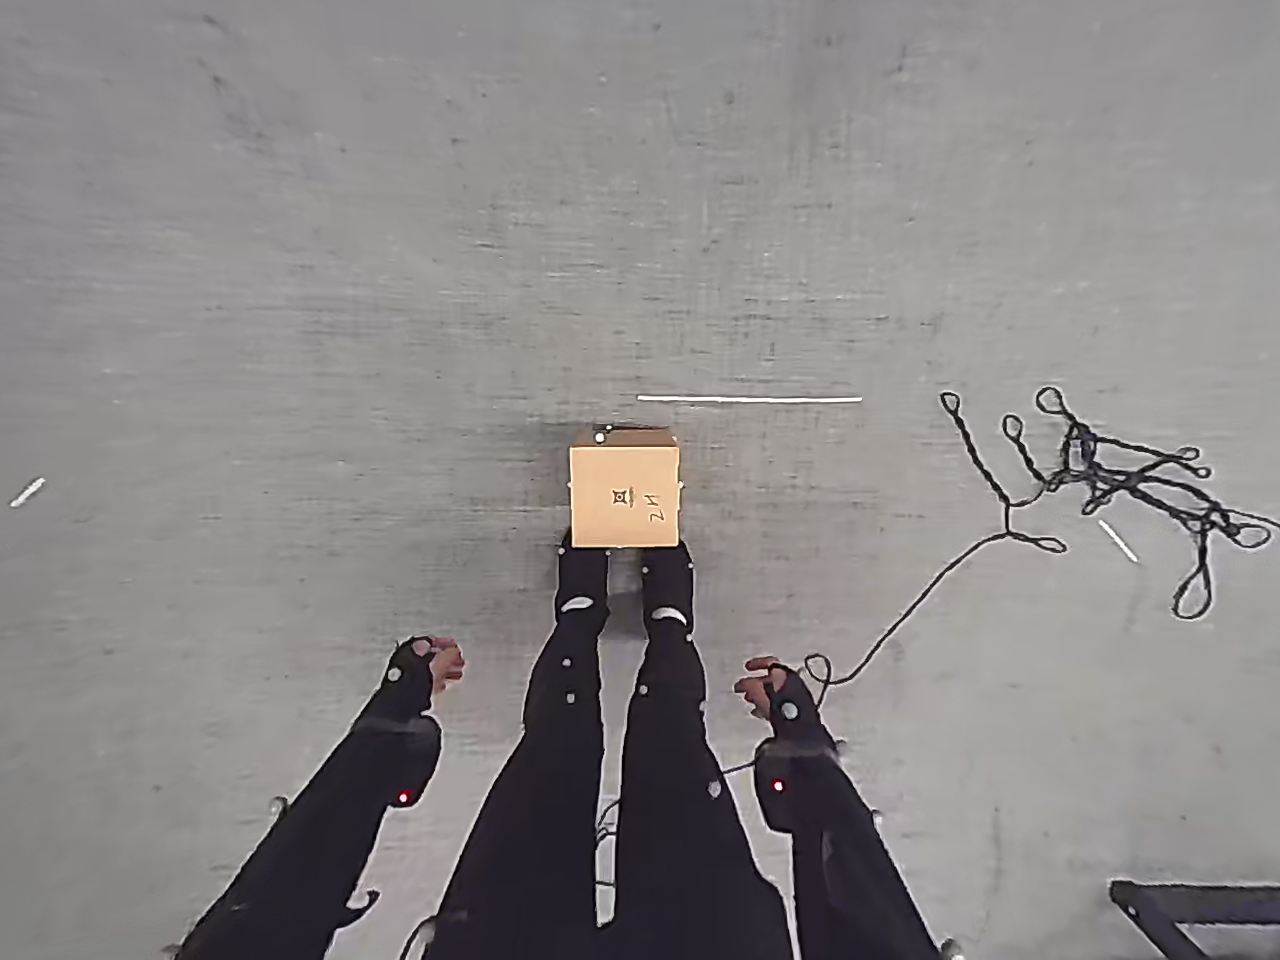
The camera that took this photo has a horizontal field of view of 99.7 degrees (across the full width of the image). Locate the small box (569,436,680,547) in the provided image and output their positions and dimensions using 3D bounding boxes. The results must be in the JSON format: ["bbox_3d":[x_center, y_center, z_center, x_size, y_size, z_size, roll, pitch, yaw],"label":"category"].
[{"bbox_3d":[-0.025,0.014,0.939,0.179,0.176,0.168,-1,100,-1],"label":"small box"}]

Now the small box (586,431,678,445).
[{"bbox_3d":[-0.016,-0.012,1.102,0.179,0.176,0.168,-1,99,-1],"label":"small box"}]
